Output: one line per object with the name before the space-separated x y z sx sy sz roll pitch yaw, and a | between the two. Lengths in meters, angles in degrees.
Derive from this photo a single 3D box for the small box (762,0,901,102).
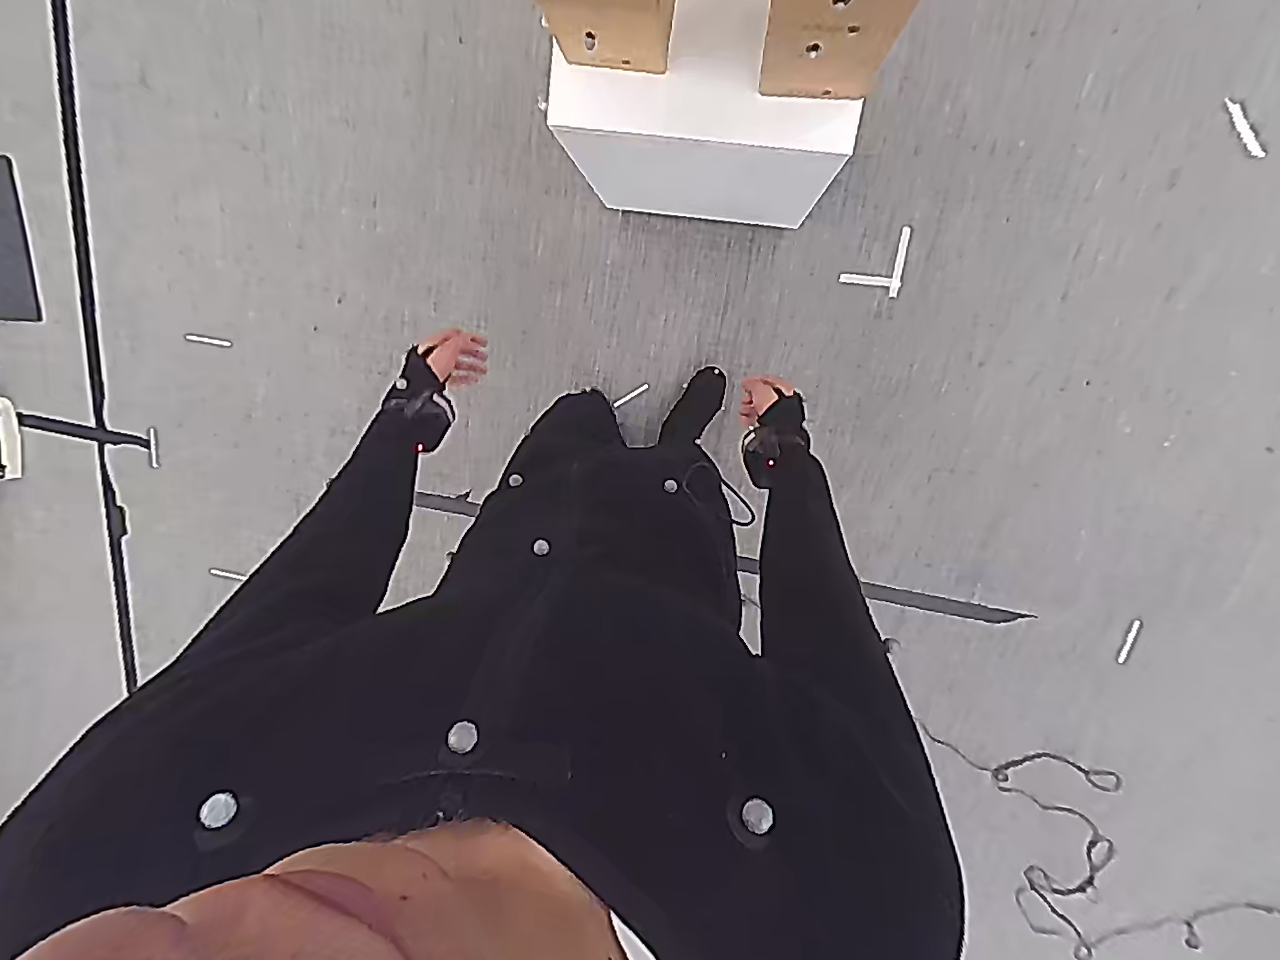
small box | 0.266 -0.664 0.748 0.168 0.176 0.179 8 104 7

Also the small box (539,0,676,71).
small box | -0.035 -0.727 0.775 0.168 0.176 0.179 10 104 4

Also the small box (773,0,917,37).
small box | 0.244 -0.627 0.589 0.168 0.176 0.179 8 104 6
